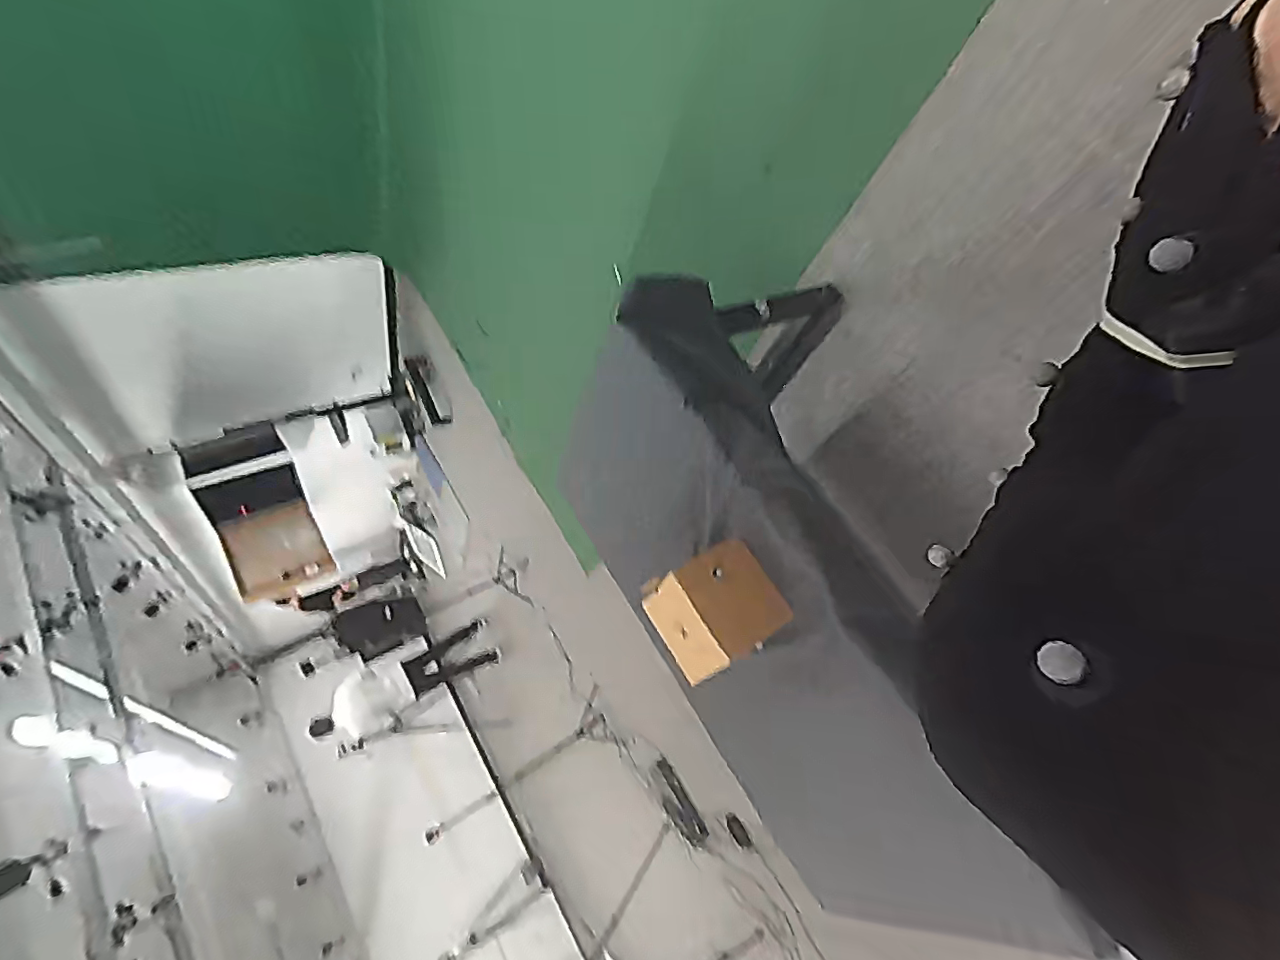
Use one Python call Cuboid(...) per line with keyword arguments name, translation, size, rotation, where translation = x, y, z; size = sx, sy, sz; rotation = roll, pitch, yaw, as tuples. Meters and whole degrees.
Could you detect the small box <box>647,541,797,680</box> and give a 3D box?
Cuboid(name="small box", translation=(0.147, 0.232, 0.994), size=(0.179, 0.176, 0.168), rotation=(55, 147, 18))
